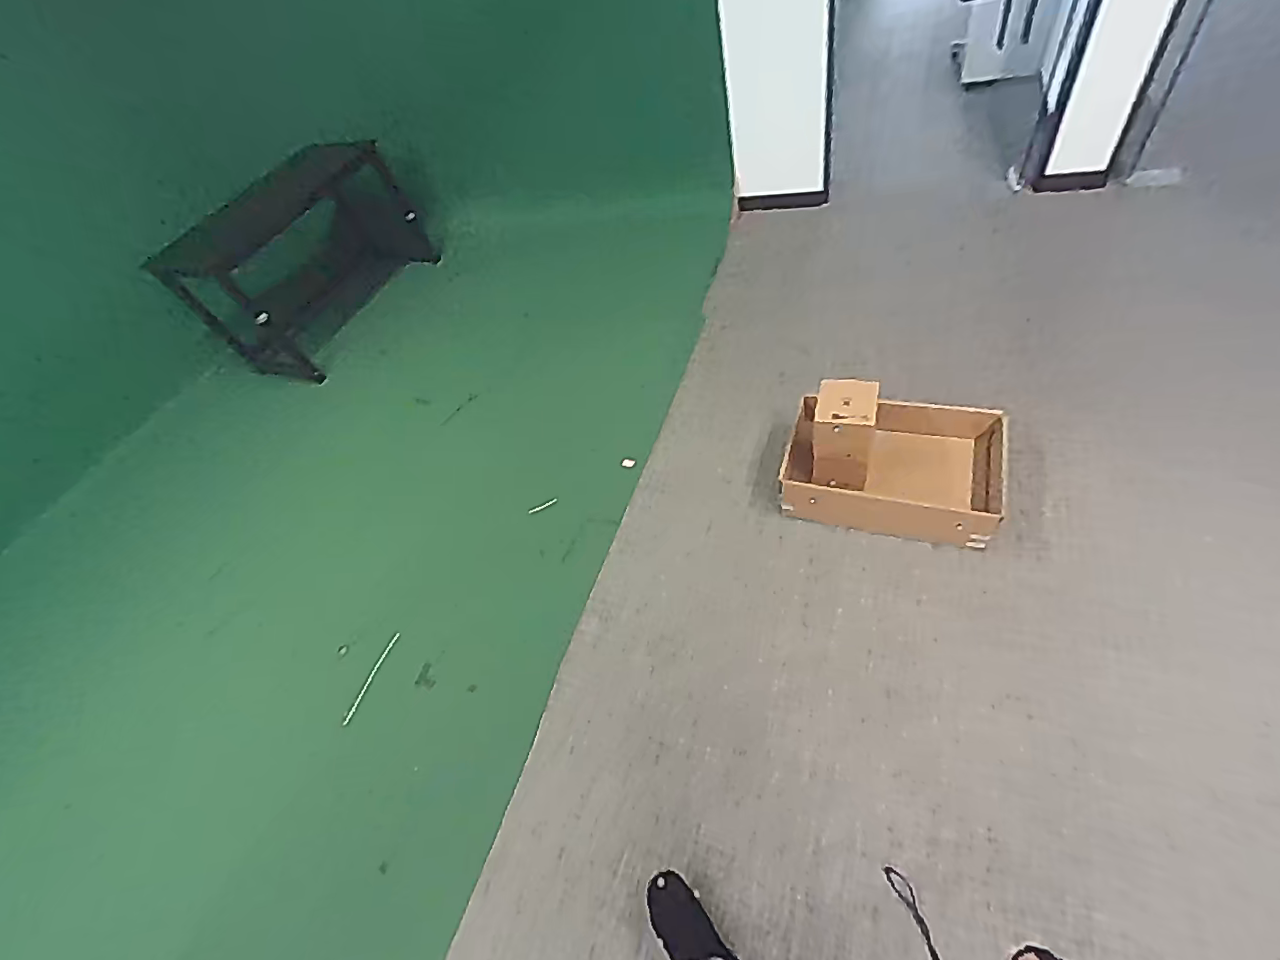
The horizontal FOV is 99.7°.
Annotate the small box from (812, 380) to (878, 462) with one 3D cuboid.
[{"bbox_3d":[0.620,-0.180,1.641,0.168,0.176,0.179,7,56,21],"label":"small box"}]
